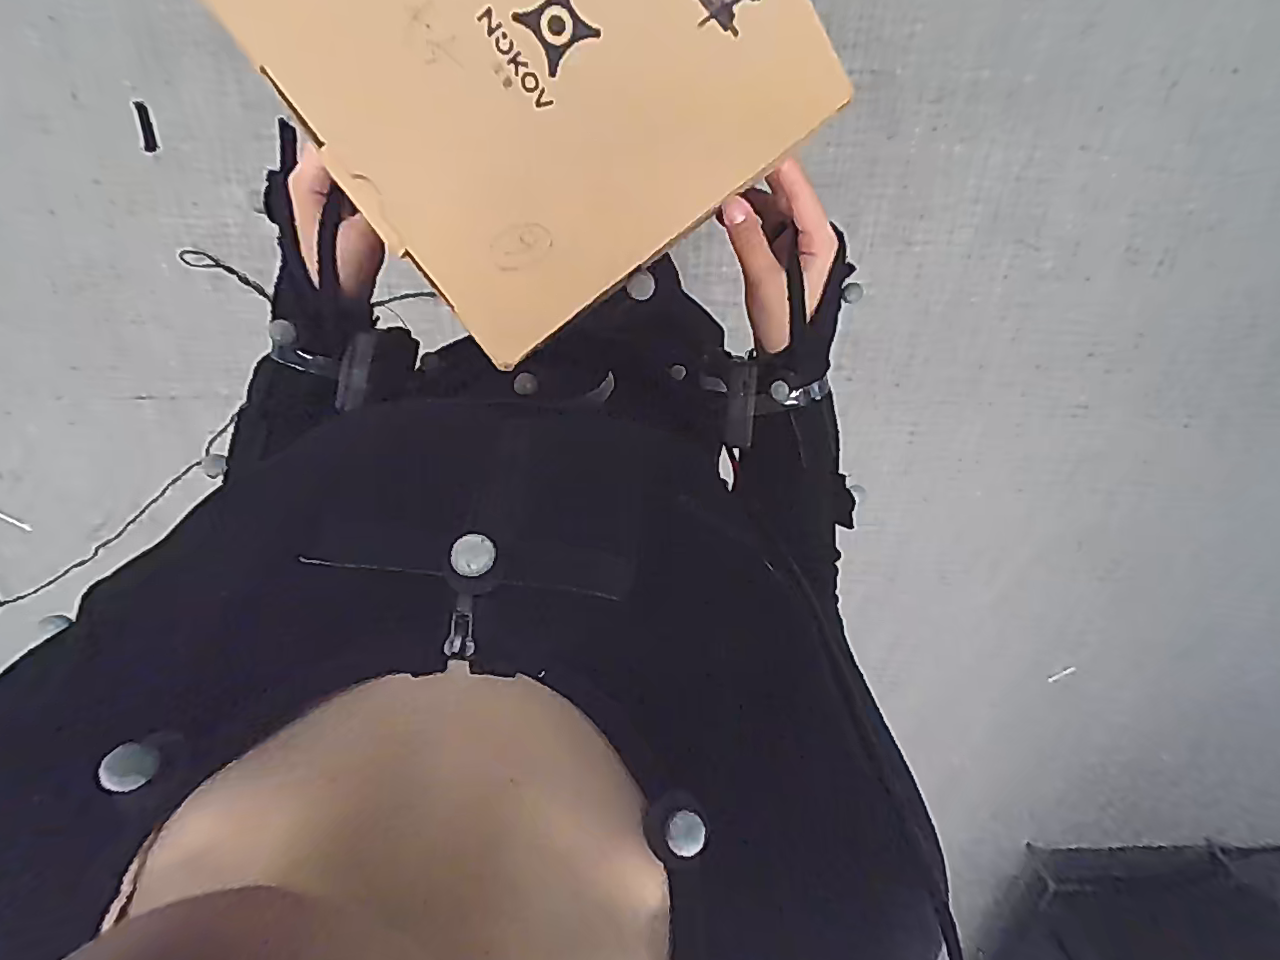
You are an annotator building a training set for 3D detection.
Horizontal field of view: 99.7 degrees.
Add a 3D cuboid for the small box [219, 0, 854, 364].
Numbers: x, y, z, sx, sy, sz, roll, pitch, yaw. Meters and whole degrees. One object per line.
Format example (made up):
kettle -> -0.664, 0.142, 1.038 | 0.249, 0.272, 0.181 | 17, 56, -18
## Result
small box -> -0.035, -0.182, 0.271 | 0.179, 0.176, 0.168 | -35, 106, 11
